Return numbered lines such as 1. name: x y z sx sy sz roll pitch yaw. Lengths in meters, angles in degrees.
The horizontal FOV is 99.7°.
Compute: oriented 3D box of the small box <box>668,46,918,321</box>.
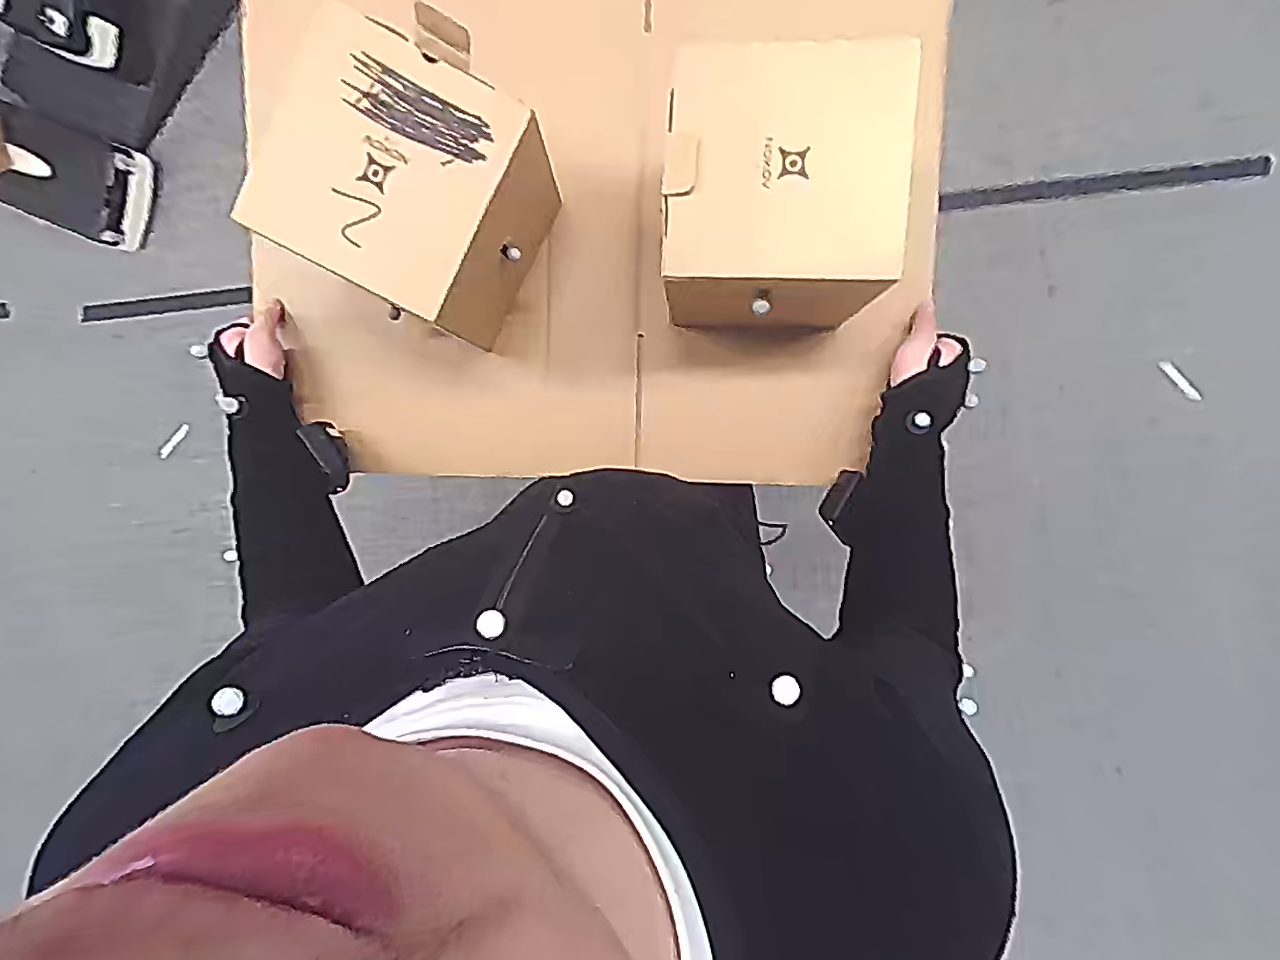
1. small box: 0.120 -0.244 0.484 0.179 0.176 0.168 3 95 7
